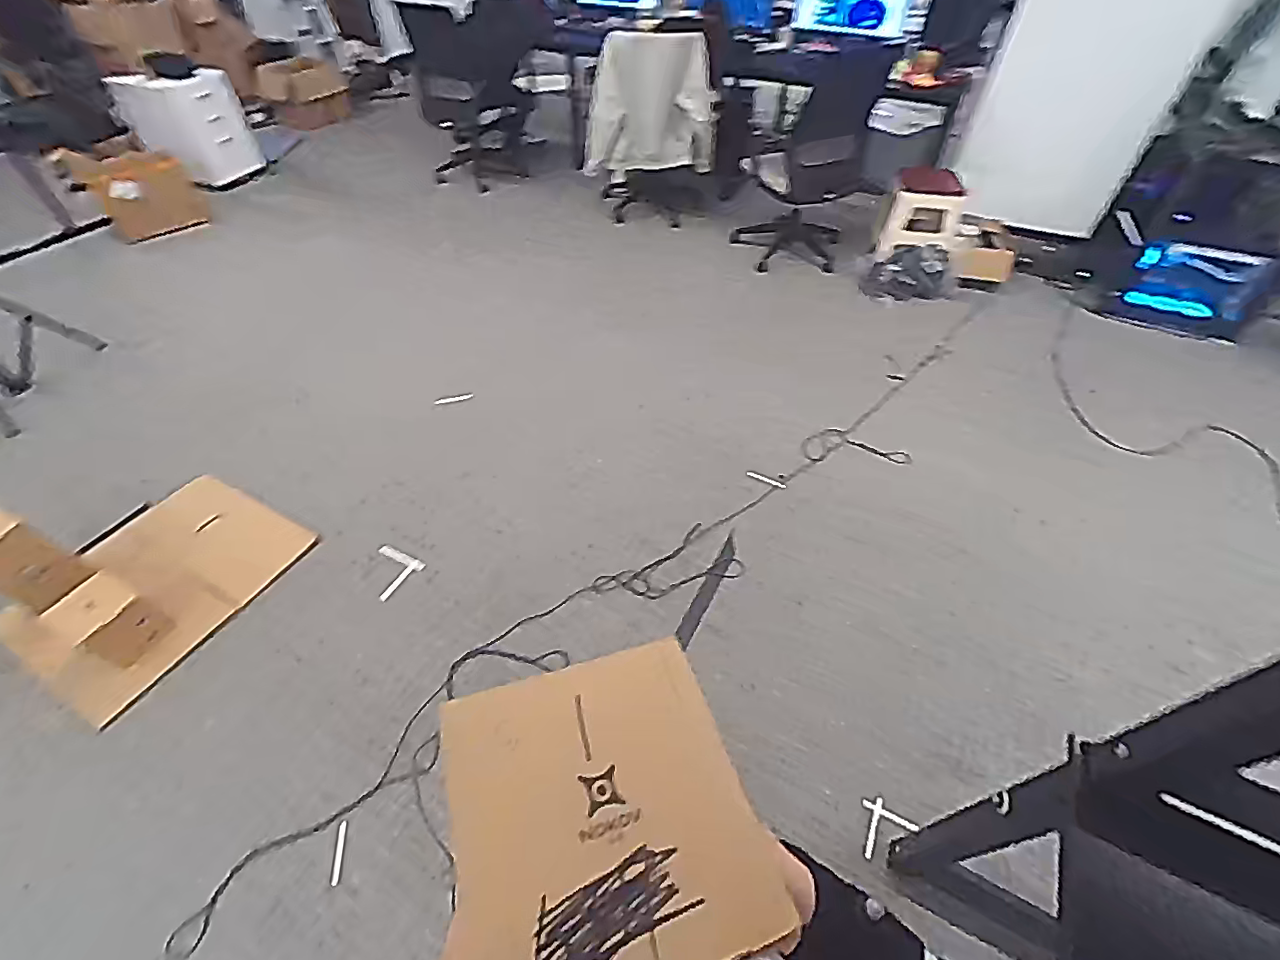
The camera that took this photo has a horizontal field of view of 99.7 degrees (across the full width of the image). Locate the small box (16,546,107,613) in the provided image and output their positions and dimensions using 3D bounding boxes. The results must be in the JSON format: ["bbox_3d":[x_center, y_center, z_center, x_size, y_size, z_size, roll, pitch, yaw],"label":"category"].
[{"bbox_3d":[-1.708,0.290,1.588,0.179,0.176,0.168,17,51,14],"label":"small box"}]

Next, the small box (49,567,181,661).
[{"bbox_3d":[-1.452,0.380,1.510,0.179,0.176,0.168,20,51,18],"label":"small box"}]

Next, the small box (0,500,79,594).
[{"bbox_3d":[-1.712,0.184,1.462,0.179,0.176,0.168,18,52,15],"label":"small box"}]
